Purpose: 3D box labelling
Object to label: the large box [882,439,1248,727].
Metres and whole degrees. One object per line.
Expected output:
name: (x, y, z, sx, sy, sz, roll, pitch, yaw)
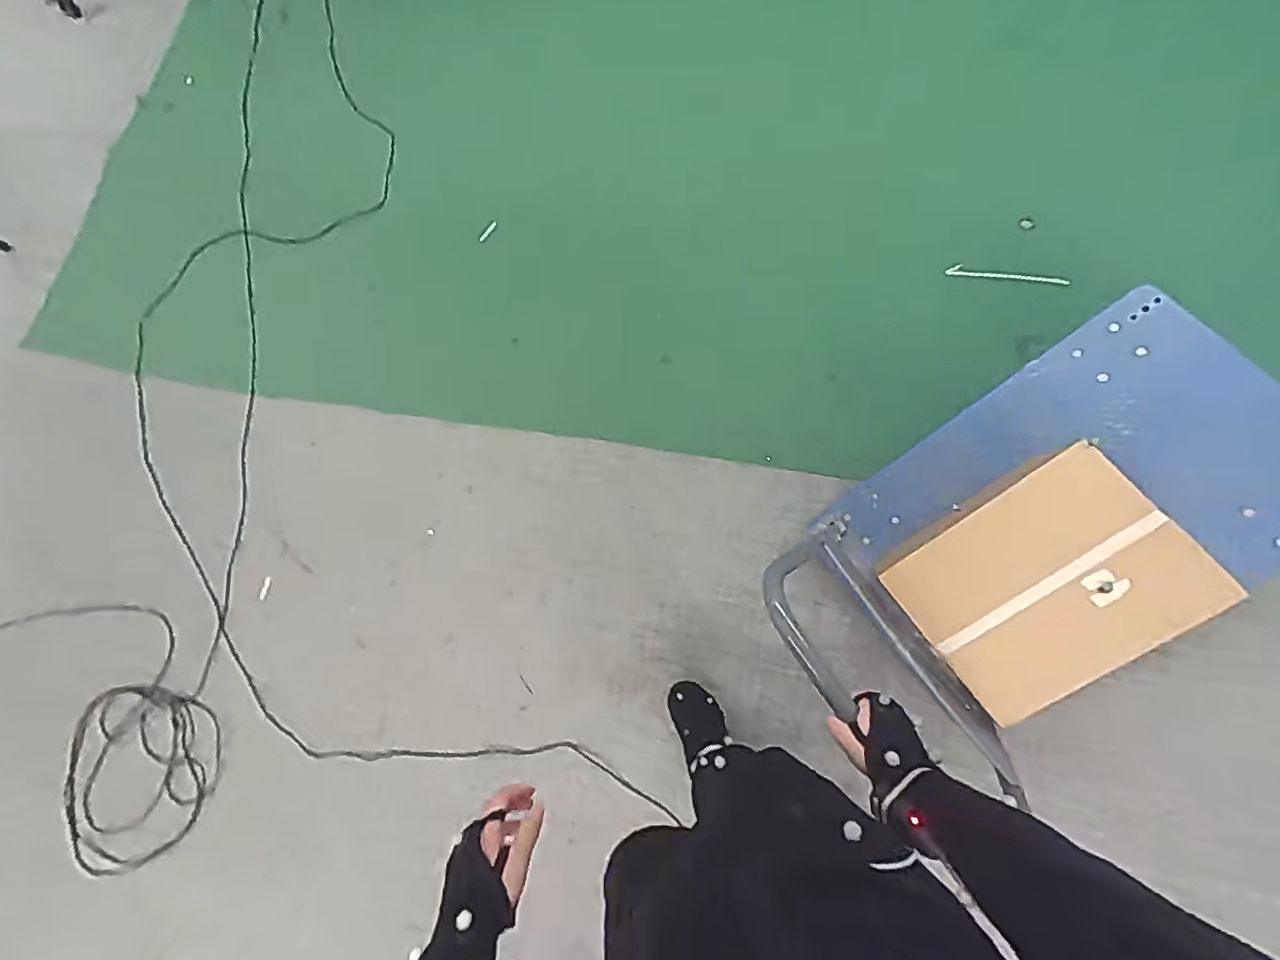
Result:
large box: (0.731, 0.186, 1.030, 0.408, 0.320, 0.320, -40, 73, 14)
